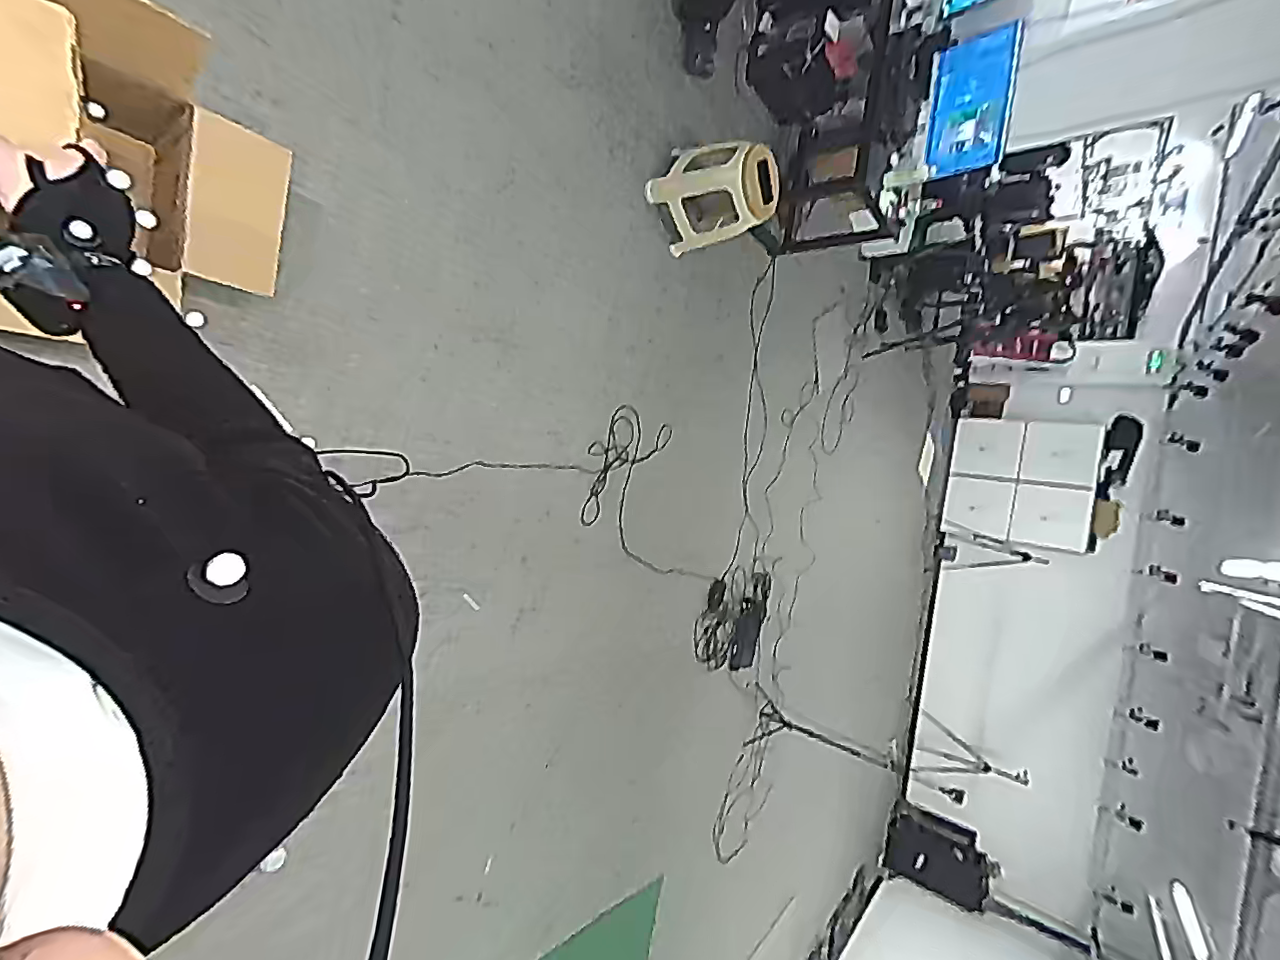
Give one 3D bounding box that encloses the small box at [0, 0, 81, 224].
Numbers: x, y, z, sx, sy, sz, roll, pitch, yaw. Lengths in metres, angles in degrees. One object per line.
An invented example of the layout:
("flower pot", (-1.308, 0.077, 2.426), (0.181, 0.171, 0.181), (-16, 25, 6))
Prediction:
("small box", (-0.610, -0.346, 0.466), (0.179, 0.176, 0.168), (0, 90, -43))
